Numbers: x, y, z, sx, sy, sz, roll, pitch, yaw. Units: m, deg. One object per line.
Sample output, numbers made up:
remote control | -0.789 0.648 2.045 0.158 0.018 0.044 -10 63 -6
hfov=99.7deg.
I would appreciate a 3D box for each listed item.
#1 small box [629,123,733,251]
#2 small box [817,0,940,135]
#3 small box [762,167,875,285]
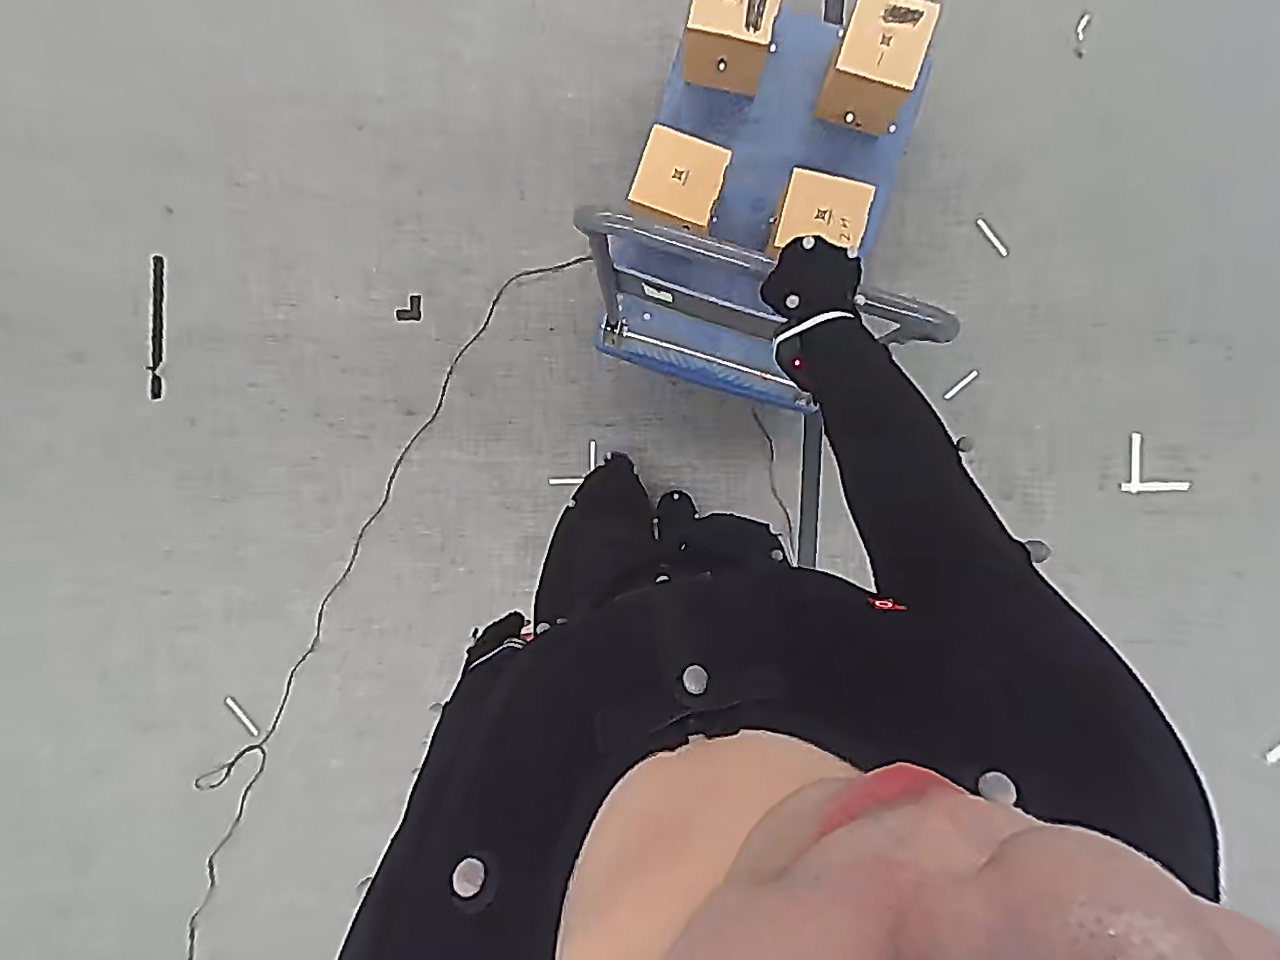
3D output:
small box | 0.084 -0.637 1.200 0.179 0.176 0.168 20 93 -1
small box | 0.503 -0.902 1.172 0.168 0.176 0.179 18 95 1
small box | 0.382 -0.549 1.194 0.179 0.176 0.168 15 93 1
